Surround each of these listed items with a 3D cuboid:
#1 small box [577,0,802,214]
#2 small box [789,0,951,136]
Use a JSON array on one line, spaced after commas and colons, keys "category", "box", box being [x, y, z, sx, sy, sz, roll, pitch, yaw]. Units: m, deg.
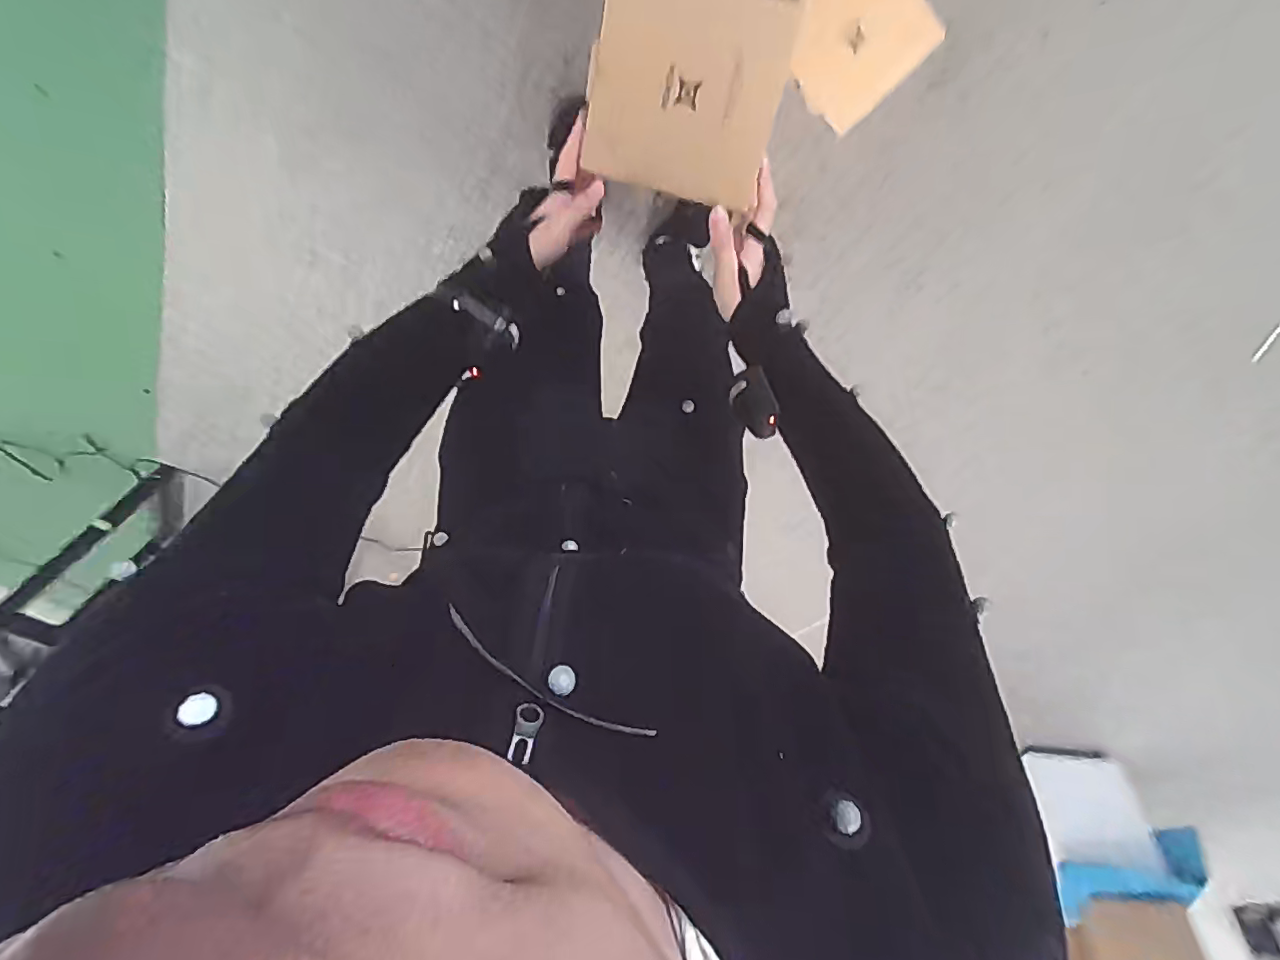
[{"category": "small box", "box": [0.047, -0.386, 0.567, 0.179, 0.176, 0.168, 13, 118, 0]}, {"category": "small box", "box": [0.316, -0.659, 0.795, 0.179, 0.176, 0.168, 37, 130, -21]}]
